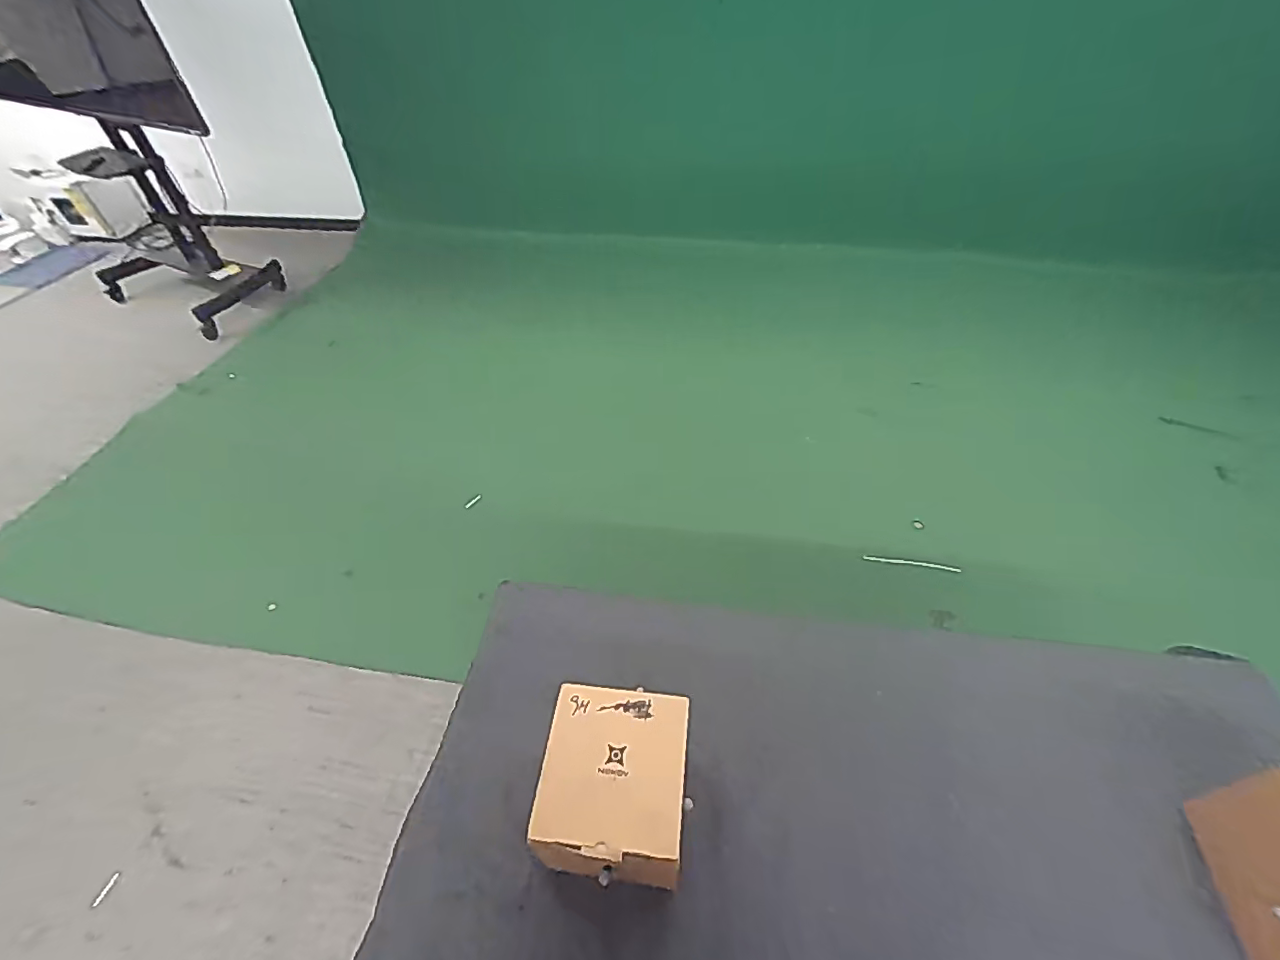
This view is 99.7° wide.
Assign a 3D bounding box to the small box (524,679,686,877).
[{"bbox_3d":[-0.031,0.377,0.682,0.168,0.176,0.179,5,46,6],"label":"small box"}]
